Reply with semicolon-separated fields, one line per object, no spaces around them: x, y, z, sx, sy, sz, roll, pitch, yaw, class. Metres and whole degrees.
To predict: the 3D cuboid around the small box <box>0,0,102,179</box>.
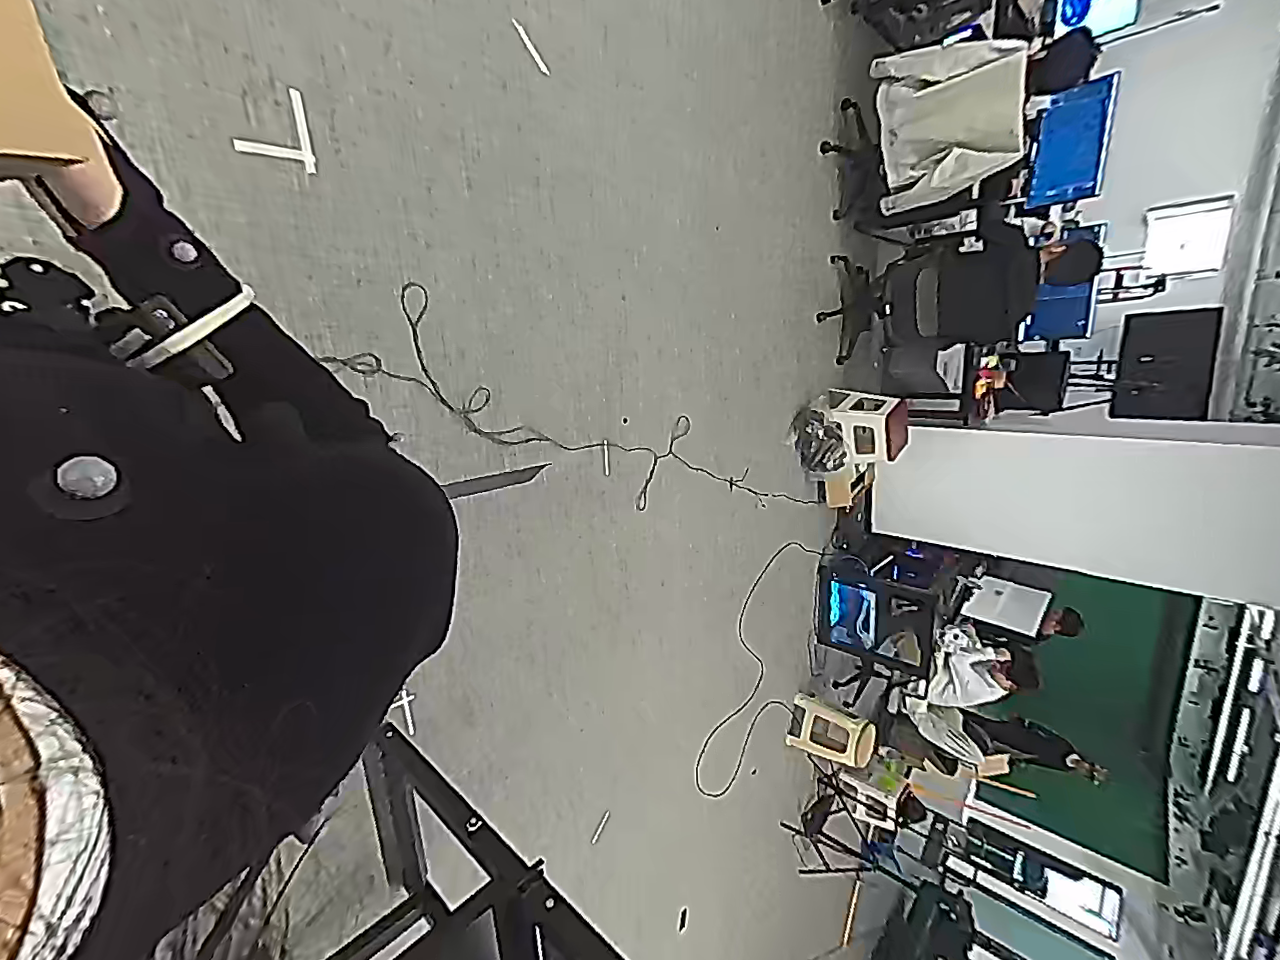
-0.365;-0.211;0.196;0.179;0.176;0.168;-31;128;-50;small box
